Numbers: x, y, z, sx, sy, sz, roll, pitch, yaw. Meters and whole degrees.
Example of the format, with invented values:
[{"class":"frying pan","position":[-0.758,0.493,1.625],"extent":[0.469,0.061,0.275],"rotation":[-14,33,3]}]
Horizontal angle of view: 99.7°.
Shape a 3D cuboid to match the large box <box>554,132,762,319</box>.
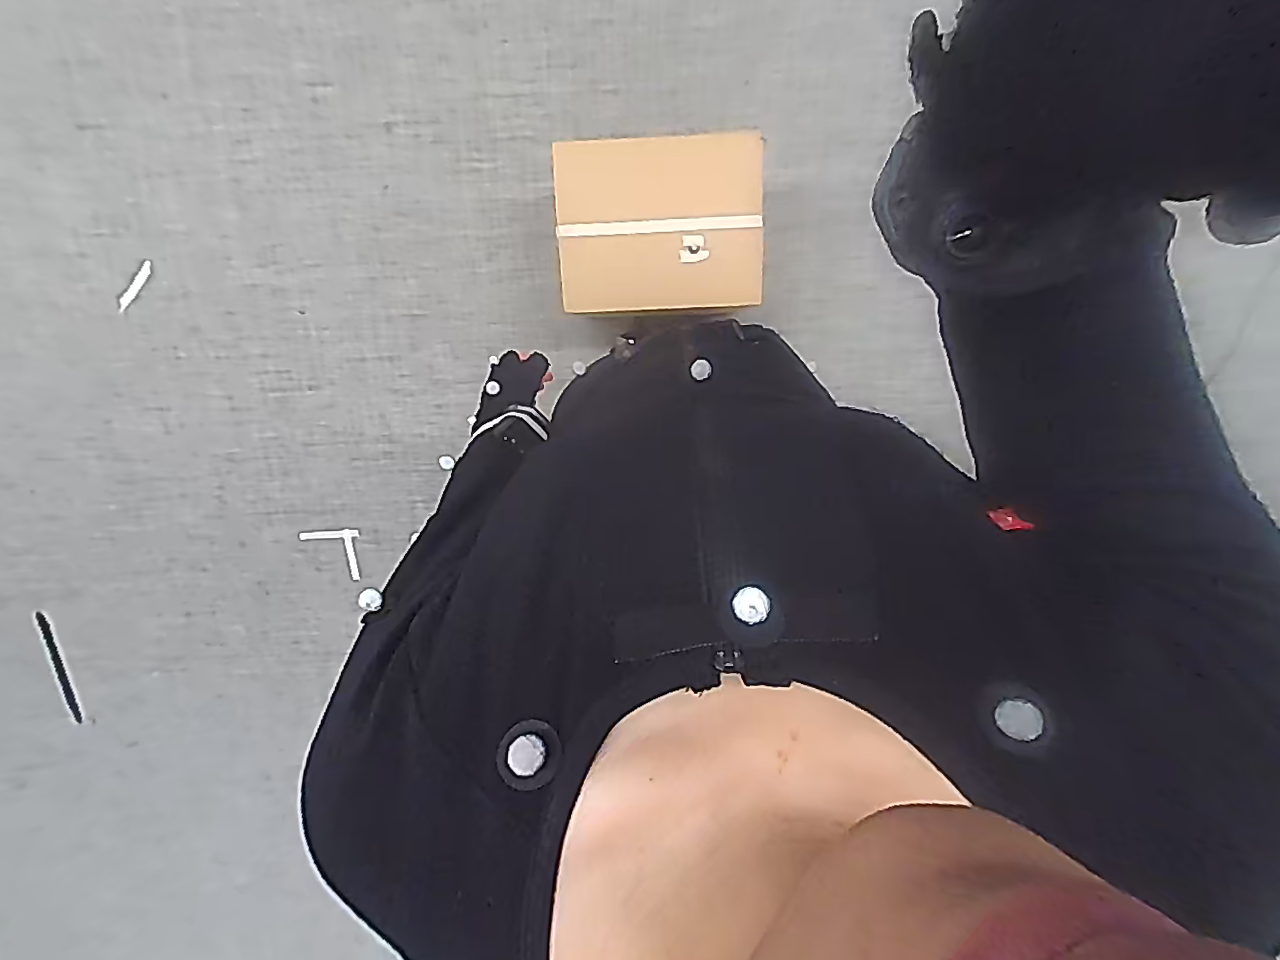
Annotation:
[{"class":"large box","position":[0.039,-0.537,1.206],"extent":[0.408,0.320,0.320],"rotation":[-2,105,1]}]
